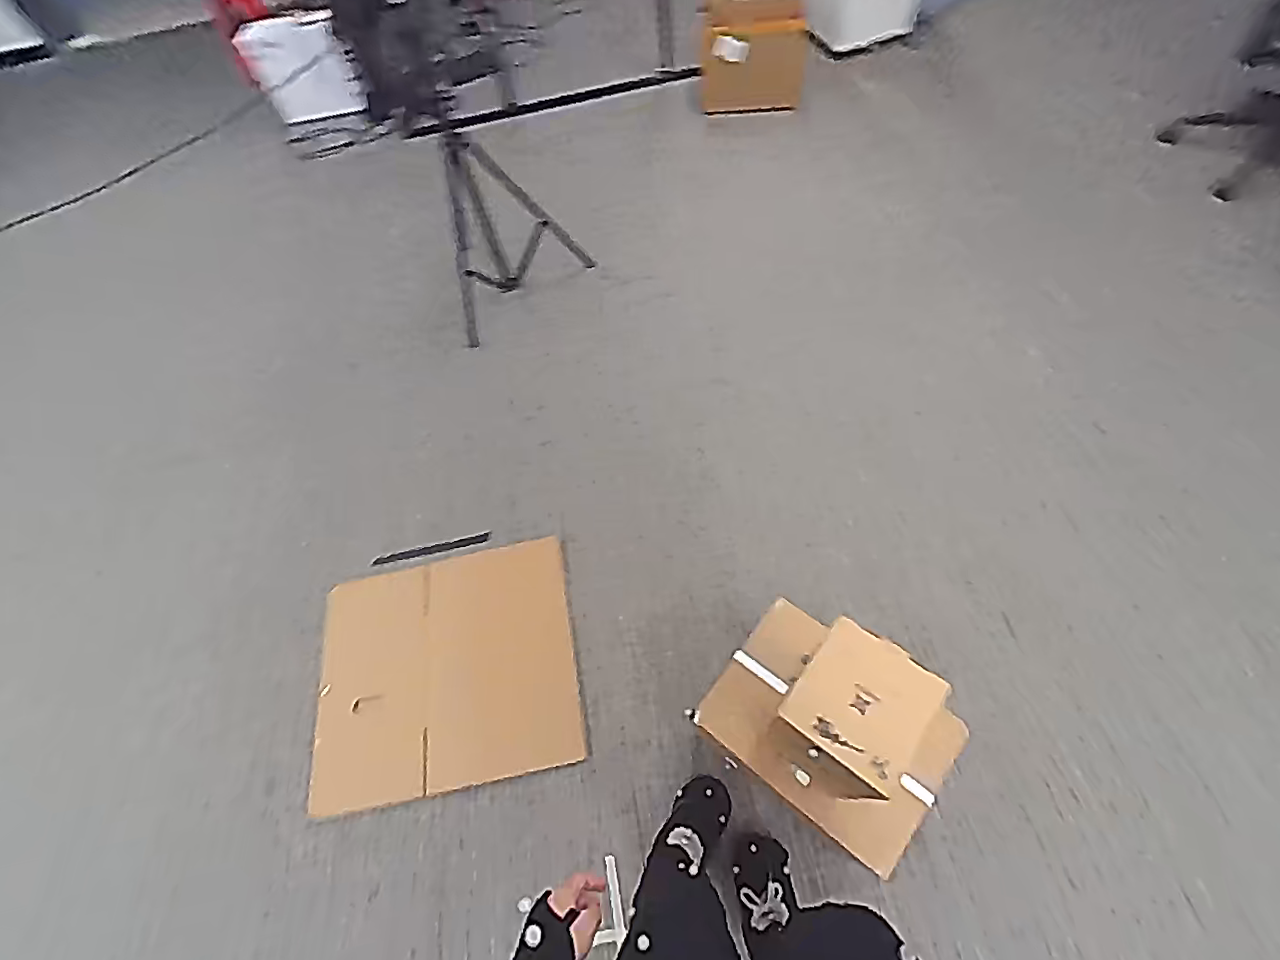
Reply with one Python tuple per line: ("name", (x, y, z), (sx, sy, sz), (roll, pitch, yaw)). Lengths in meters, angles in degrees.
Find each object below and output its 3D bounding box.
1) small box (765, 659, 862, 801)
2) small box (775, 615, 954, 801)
("small box", (0.331, 0.419, 0.935), (0.168, 0.176, 0.179), (33, 70, 23))
("small box", (0.314, 0.336, 0.794), (0.168, 0.176, 0.179), (33, 69, 24))
